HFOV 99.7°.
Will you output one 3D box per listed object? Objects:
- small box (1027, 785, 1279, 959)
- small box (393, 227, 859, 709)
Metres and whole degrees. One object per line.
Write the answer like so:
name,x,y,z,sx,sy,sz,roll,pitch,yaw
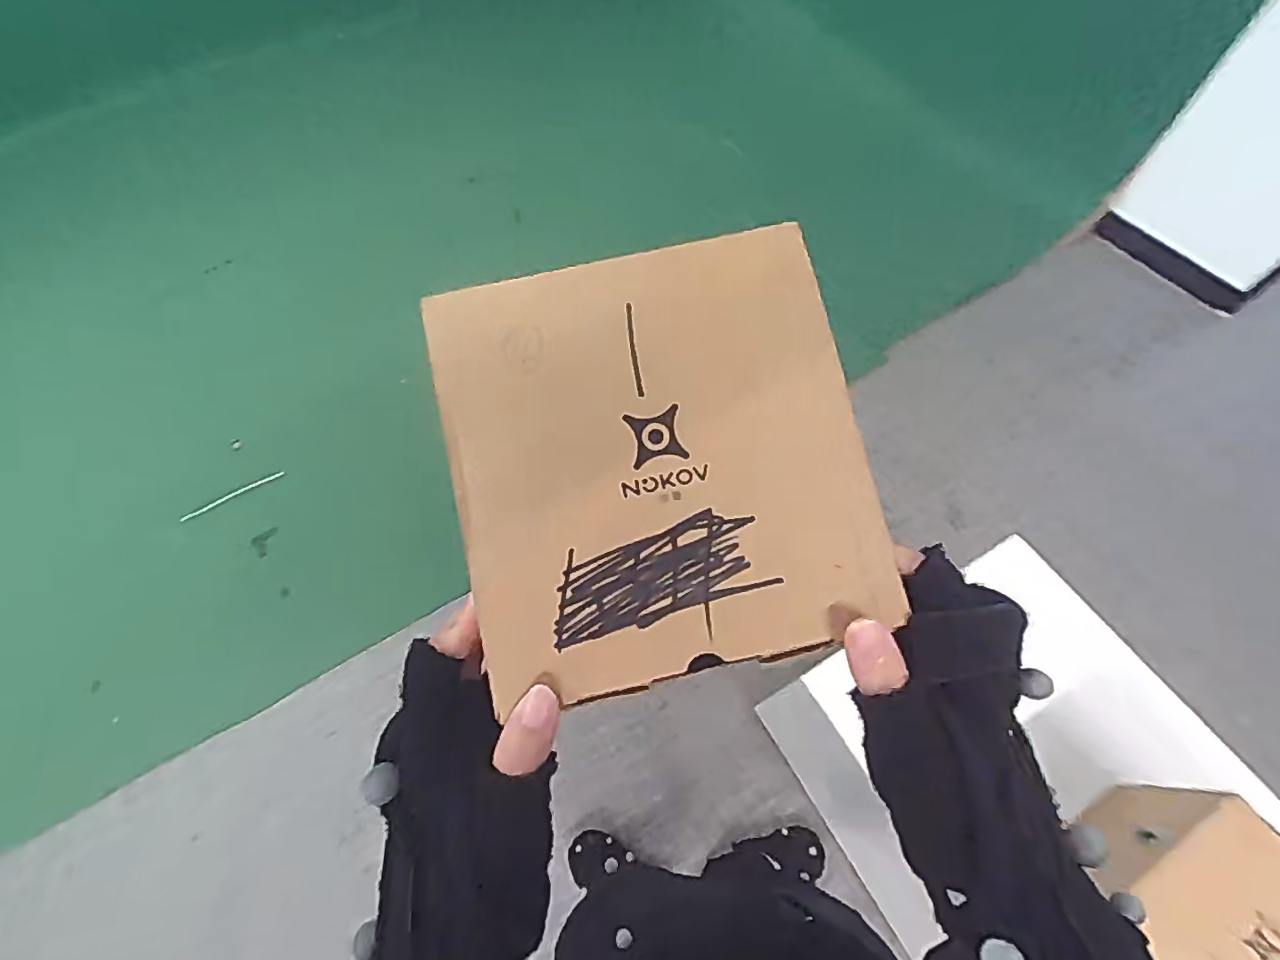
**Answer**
small box,0.536,0.424,0.525,0.179,0.176,0.168,-31,64,-9
small box,-0.008,0.000,0.302,0.168,0.176,0.179,-13,83,-2
